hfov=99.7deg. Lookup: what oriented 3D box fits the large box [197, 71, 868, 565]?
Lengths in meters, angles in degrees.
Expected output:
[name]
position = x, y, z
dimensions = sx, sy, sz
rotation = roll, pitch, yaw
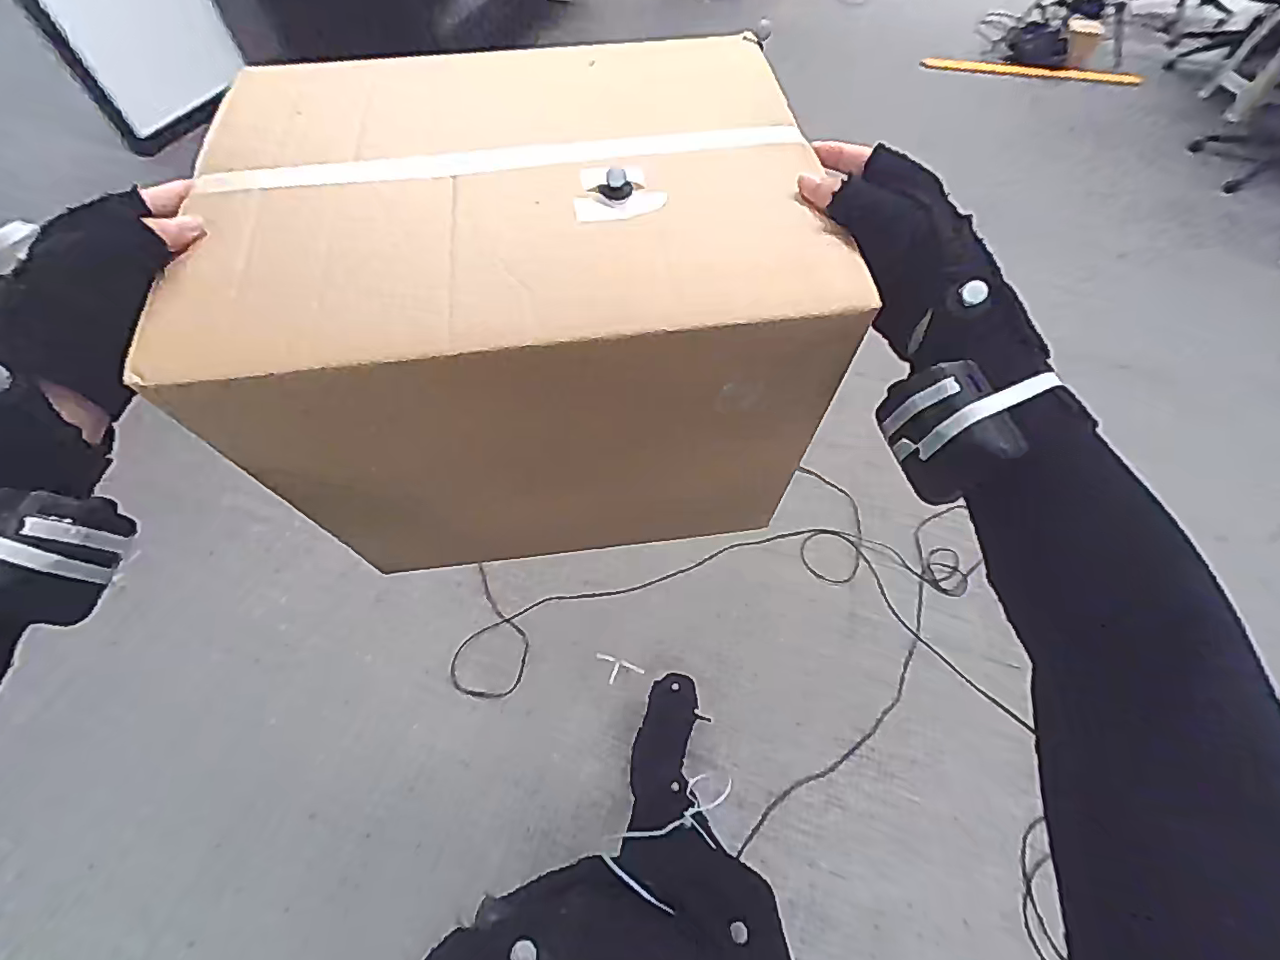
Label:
[large box]
position = -0.076, -0.134, 0.517
dimensions = 0.408, 0.320, 0.320
rotation = -6, 62, -4
